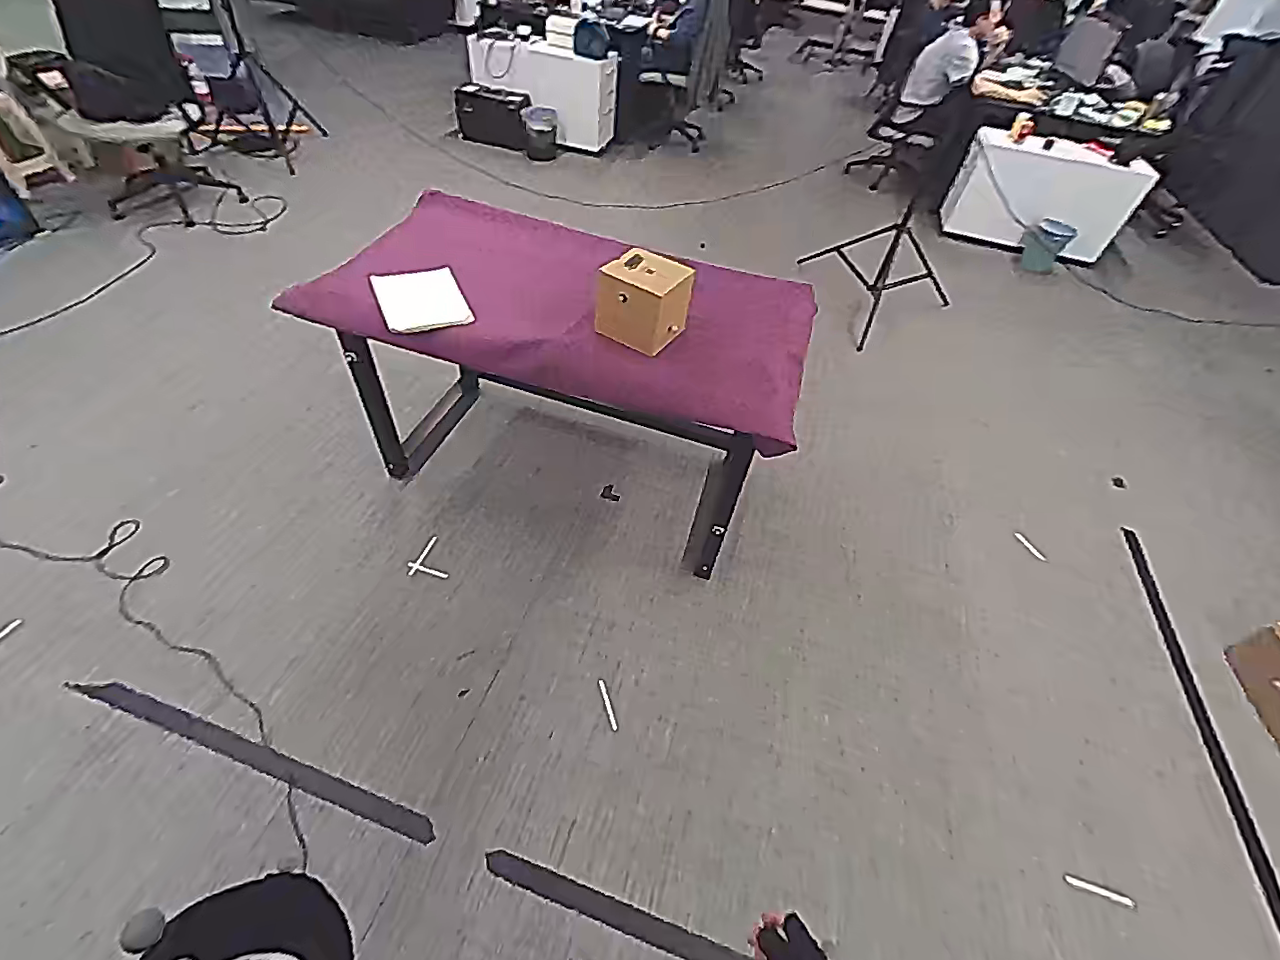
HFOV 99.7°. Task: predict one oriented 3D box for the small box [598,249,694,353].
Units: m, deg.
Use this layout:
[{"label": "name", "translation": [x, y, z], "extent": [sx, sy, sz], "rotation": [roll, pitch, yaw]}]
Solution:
[{"label": "small box", "translation": [0.009, -0.442, 1.342], "extent": [0.179, 0.176, 0.168], "rotation": [28, 50, 17]}]
